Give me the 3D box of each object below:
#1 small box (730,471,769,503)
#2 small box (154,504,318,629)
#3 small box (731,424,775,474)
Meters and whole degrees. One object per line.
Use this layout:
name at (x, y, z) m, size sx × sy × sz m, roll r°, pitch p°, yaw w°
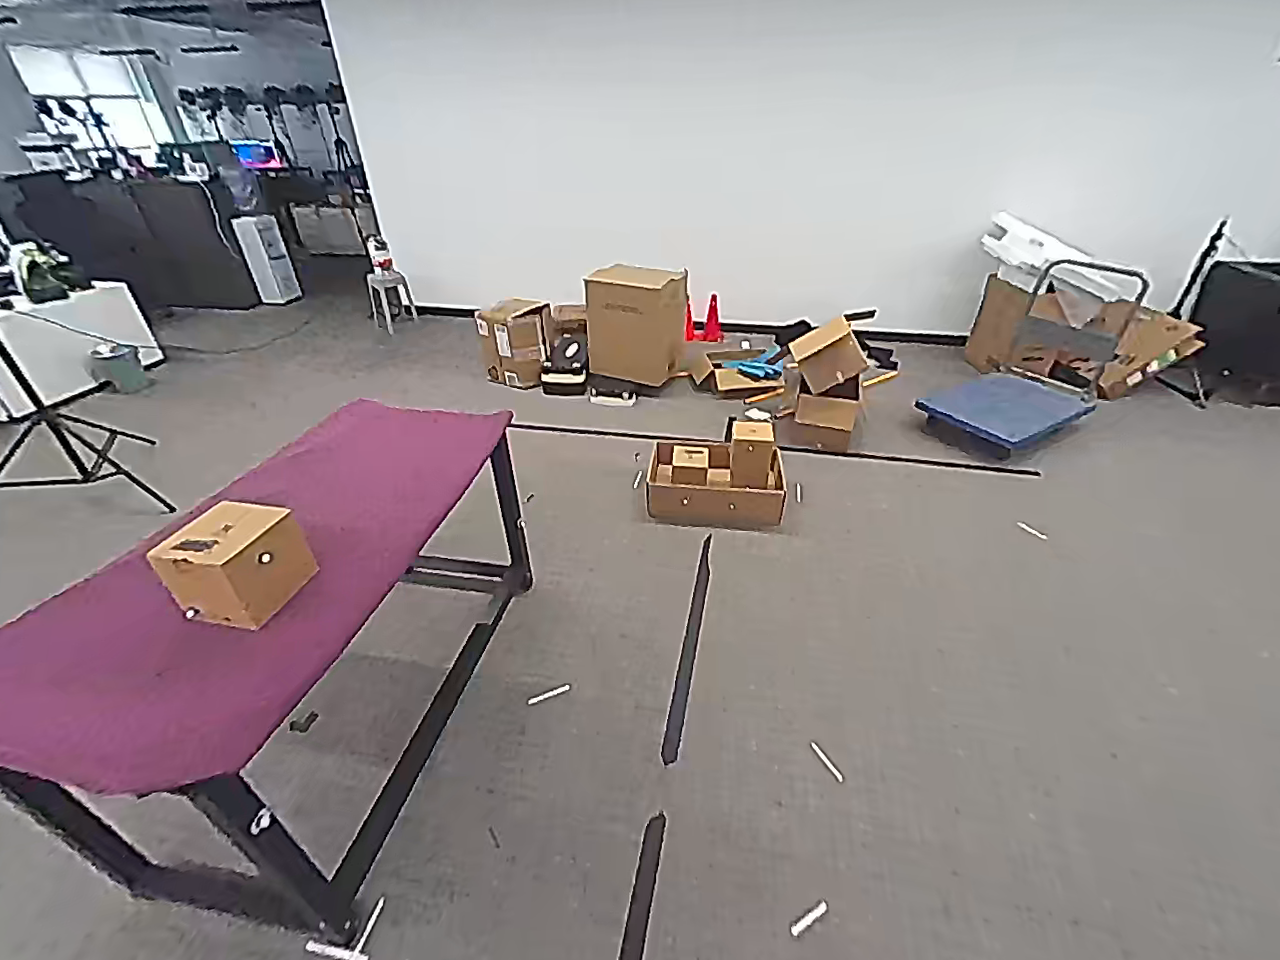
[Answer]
small box at (0.515, -0.006, 2.540) m, size 0.168 × 0.176 × 0.179 m, roll 4°, pitch 33°, yaw 7°
small box at (-0.790, 0.172, 1.083) m, size 0.168 × 0.176 × 0.179 m, roll 6°, pitch 33°, yaw 10°
small box at (0.508, -0.140, 2.448) m, size 0.179 × 0.176 × 0.168 m, roll 3°, pitch 34°, yaw 8°
